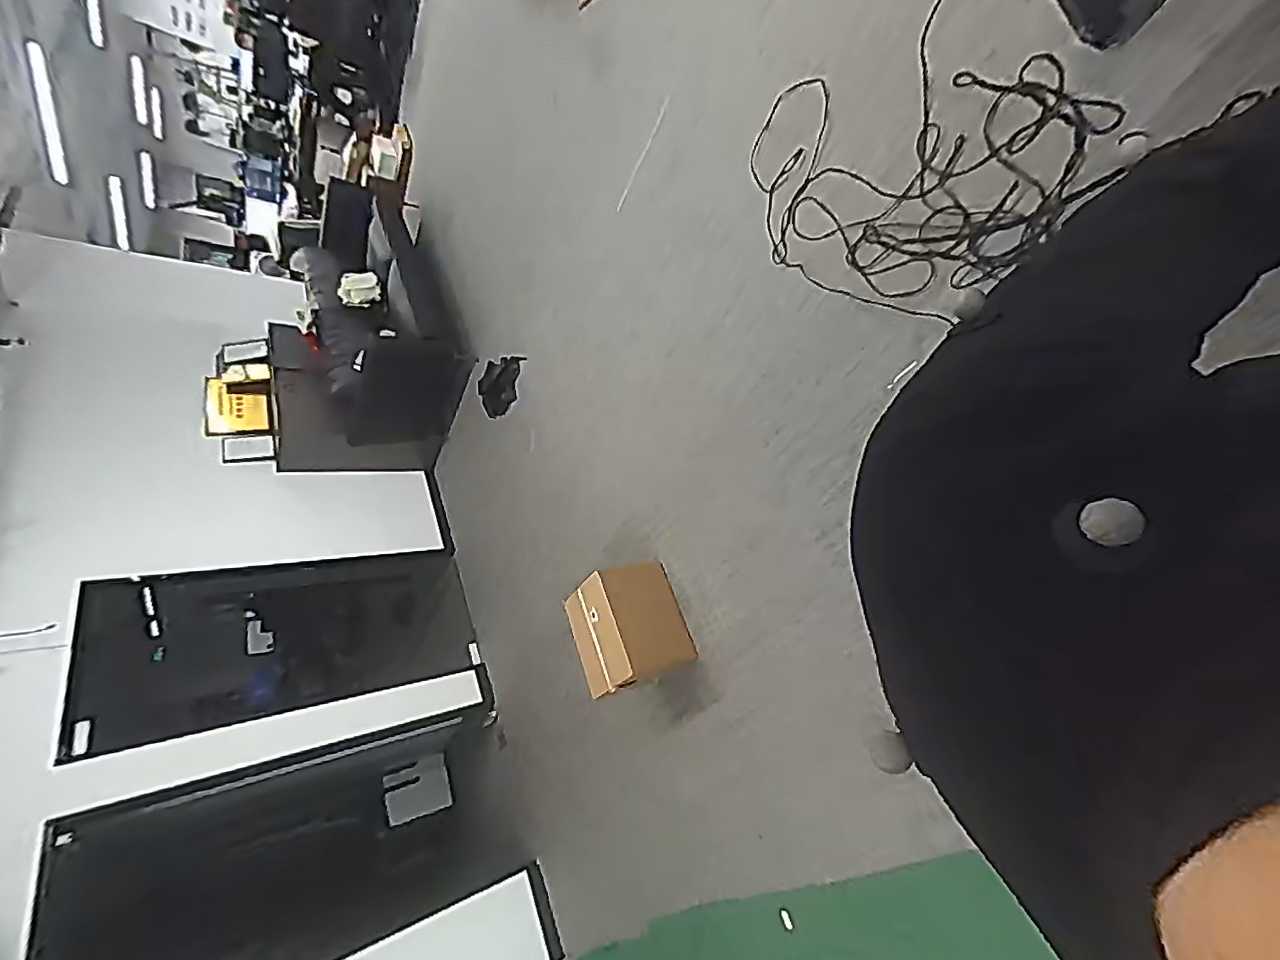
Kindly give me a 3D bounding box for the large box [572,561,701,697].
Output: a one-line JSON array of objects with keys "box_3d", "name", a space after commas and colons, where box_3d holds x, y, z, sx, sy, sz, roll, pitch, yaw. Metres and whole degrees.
[{"box_3d": [-0.022, 0.576, 2.122, 0.320, 0.320, 0.408, -48, 53, 41], "name": "large box"}]
